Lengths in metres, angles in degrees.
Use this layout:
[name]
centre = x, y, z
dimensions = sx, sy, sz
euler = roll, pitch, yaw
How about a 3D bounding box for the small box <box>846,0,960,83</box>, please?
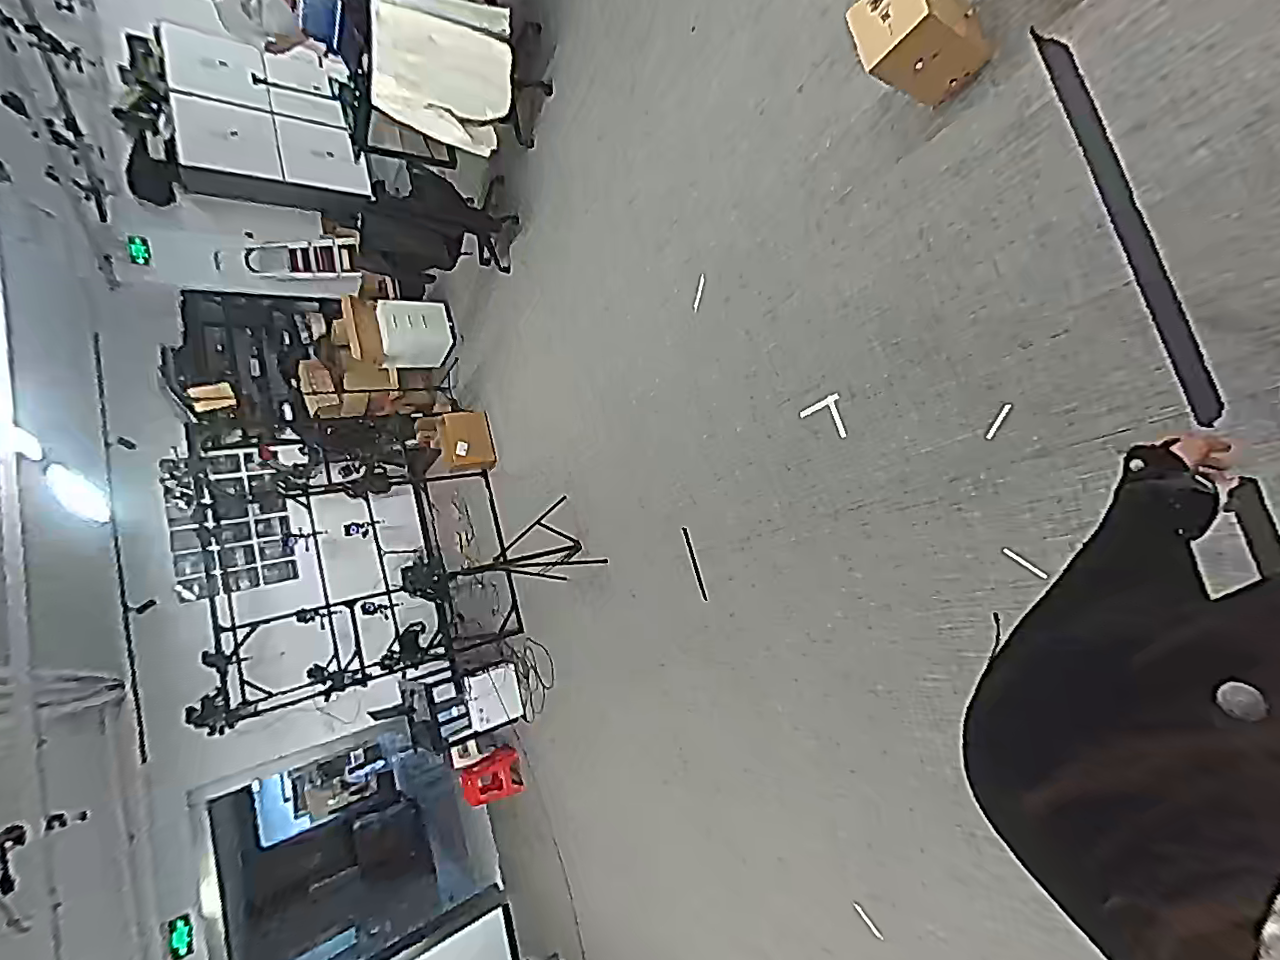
[small box]
centre = 0.643, -1.123, 1.320
dimensions = 0.168, 0.176, 0.179
euler = -24, 79, 54
